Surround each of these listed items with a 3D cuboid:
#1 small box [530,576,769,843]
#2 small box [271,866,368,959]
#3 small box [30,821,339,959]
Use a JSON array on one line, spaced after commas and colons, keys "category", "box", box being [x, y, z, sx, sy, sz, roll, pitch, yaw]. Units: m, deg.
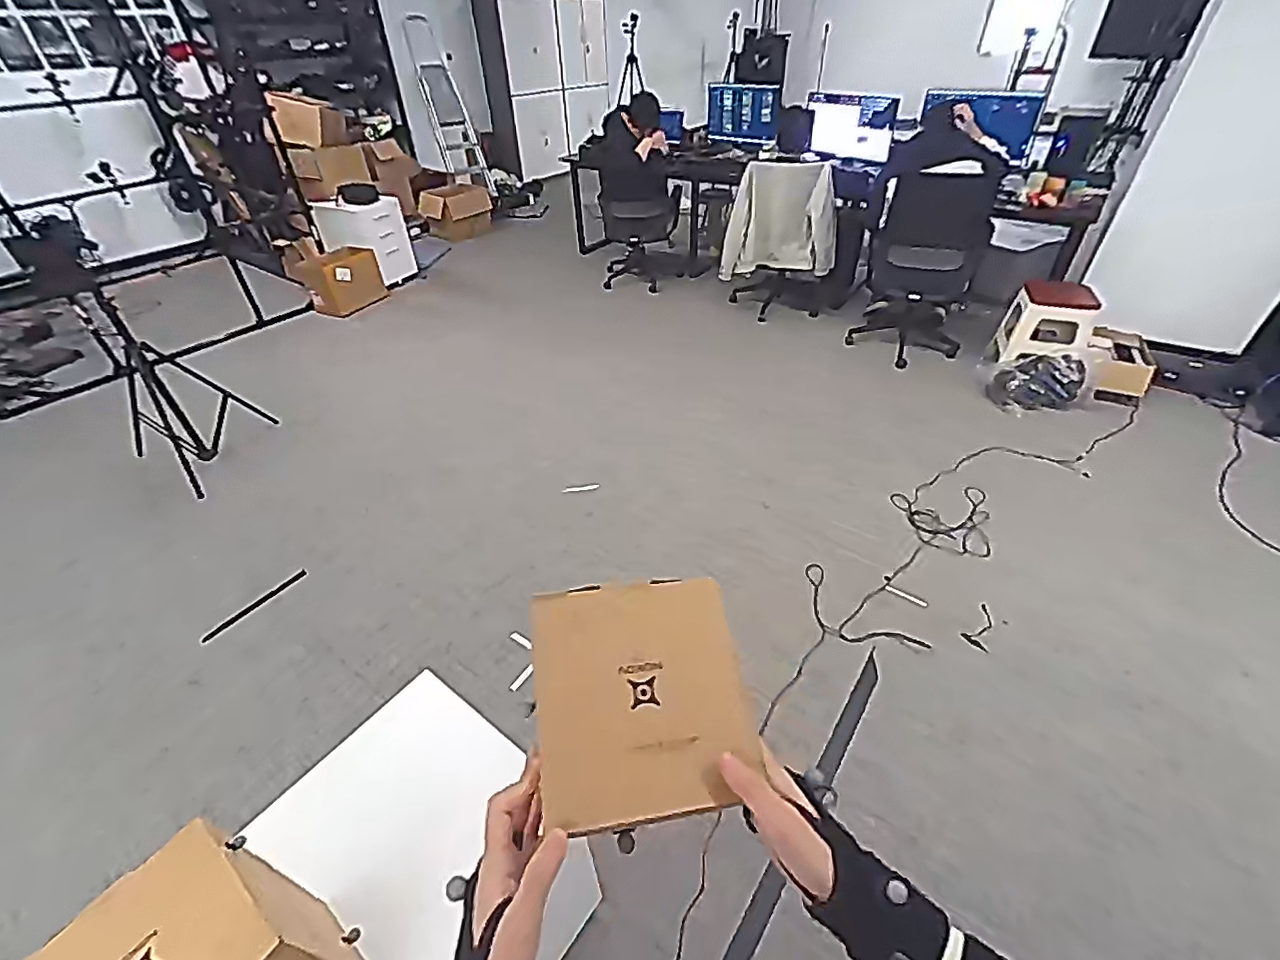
[{"category": "small box", "box": [-0.012, 0.204, 0.480, 0.168, 0.176, 0.179, -3, 56, -12]}, {"category": "small box", "box": [-0.426, 0.608, 0.624, 0.179, 0.176, 0.168, 24, 46, 29]}, {"category": "small box", "box": [-0.429, 0.483, 0.519, 0.179, 0.176, 0.168, 23, 46, 28]}]
